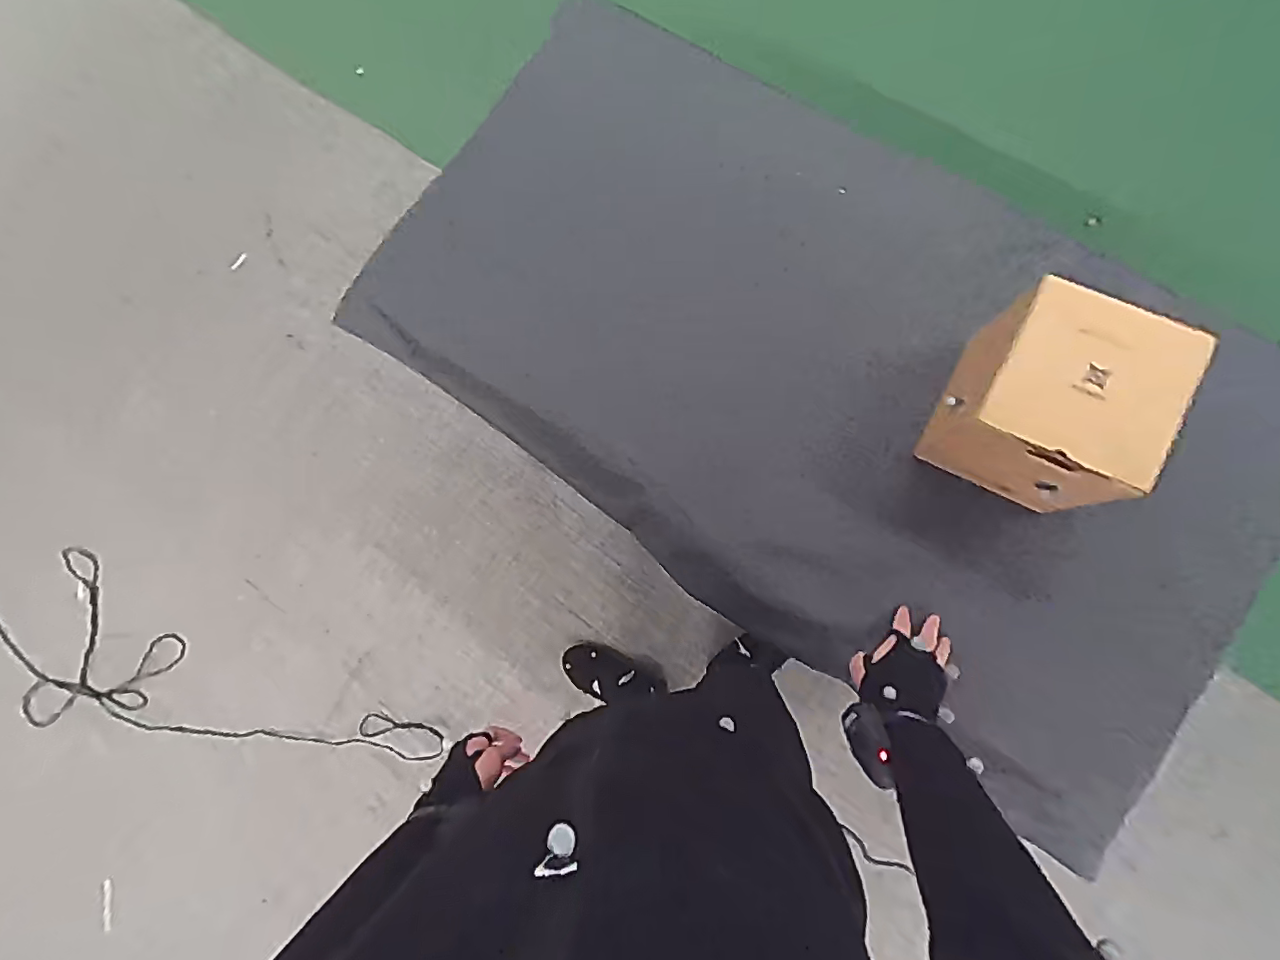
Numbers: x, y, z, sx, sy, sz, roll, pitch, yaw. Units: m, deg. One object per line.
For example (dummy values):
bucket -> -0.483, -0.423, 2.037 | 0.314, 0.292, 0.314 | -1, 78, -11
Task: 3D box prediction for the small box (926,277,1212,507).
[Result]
small box -> 0.456, -0.084, 0.610 | 0.168, 0.176, 0.179 | 27, 83, 9
